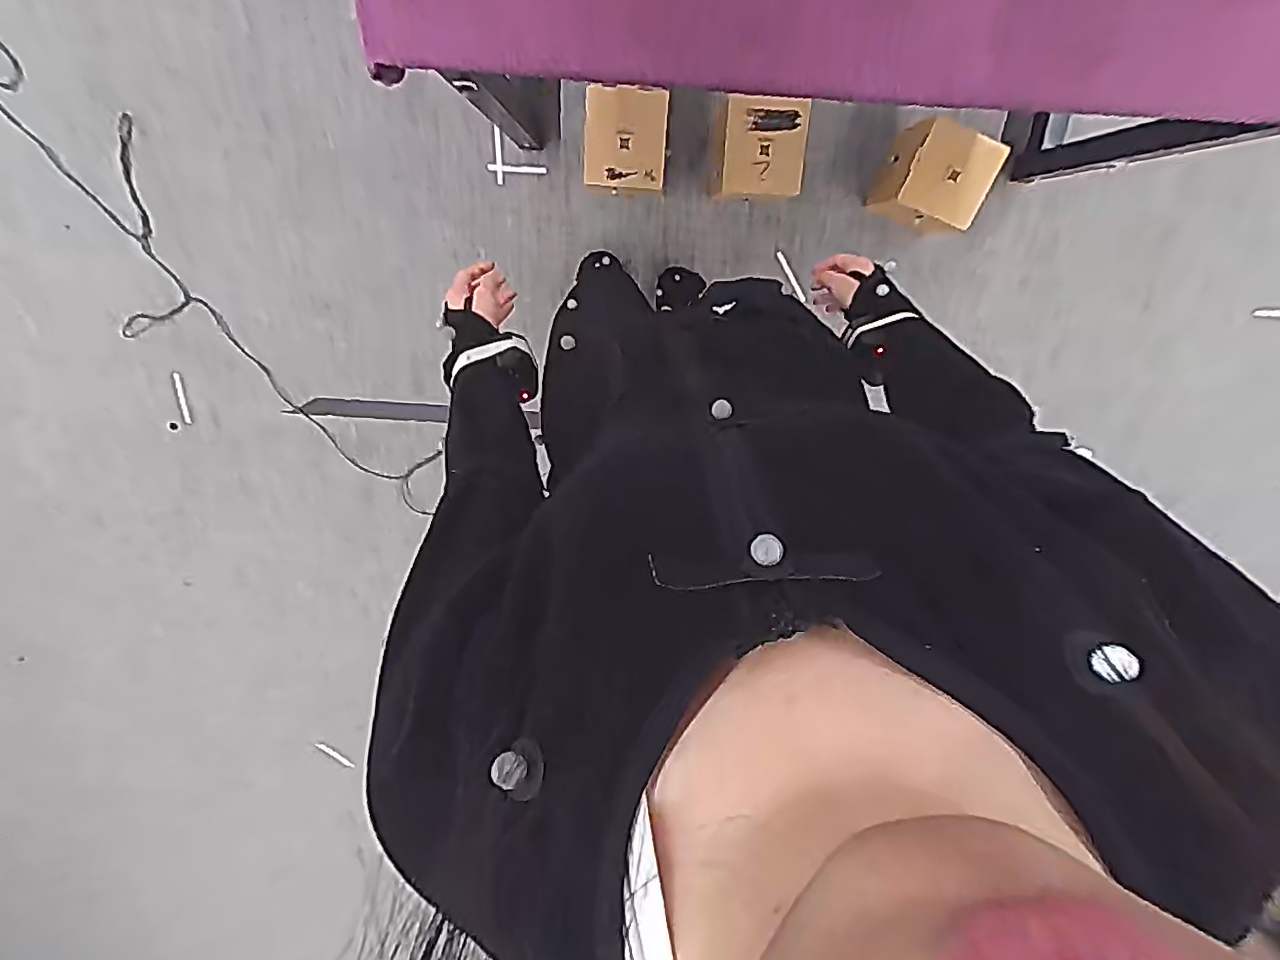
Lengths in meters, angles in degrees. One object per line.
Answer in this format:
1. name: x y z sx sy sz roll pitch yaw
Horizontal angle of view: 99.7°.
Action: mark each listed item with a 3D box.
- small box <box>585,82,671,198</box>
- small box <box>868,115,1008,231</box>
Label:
1. small box: -0.029 -0.719 1.161 0.168 0.176 0.179 3 112 -3
2. small box: 0.643 -0.664 1.190 0.179 0.176 0.168 19 112 -7
